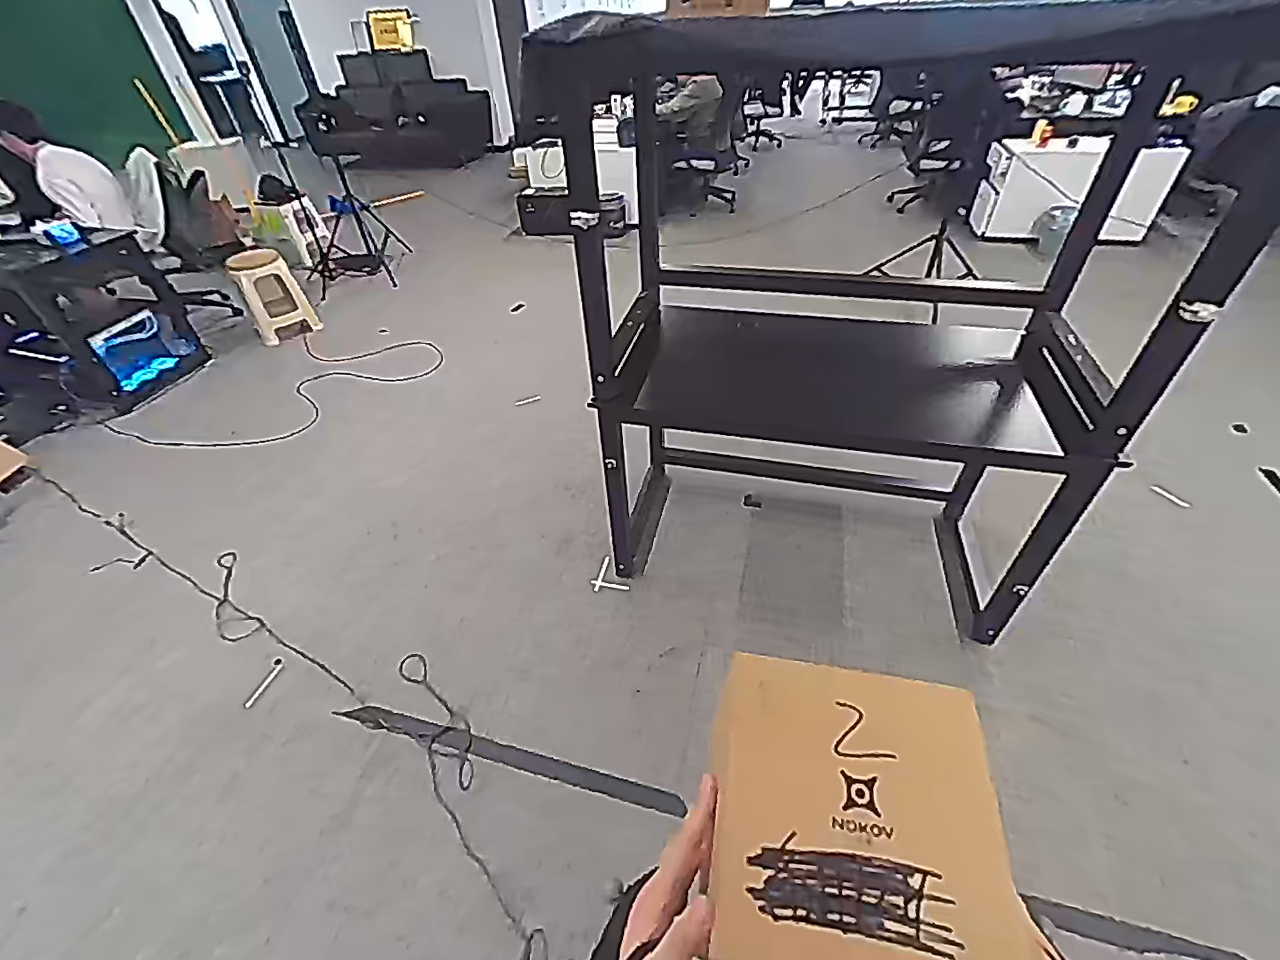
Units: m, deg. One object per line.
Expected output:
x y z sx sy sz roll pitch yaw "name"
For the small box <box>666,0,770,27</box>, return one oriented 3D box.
0.135 -0.852 0.878 0.168 0.176 0.179 7 41 10 "small box"
